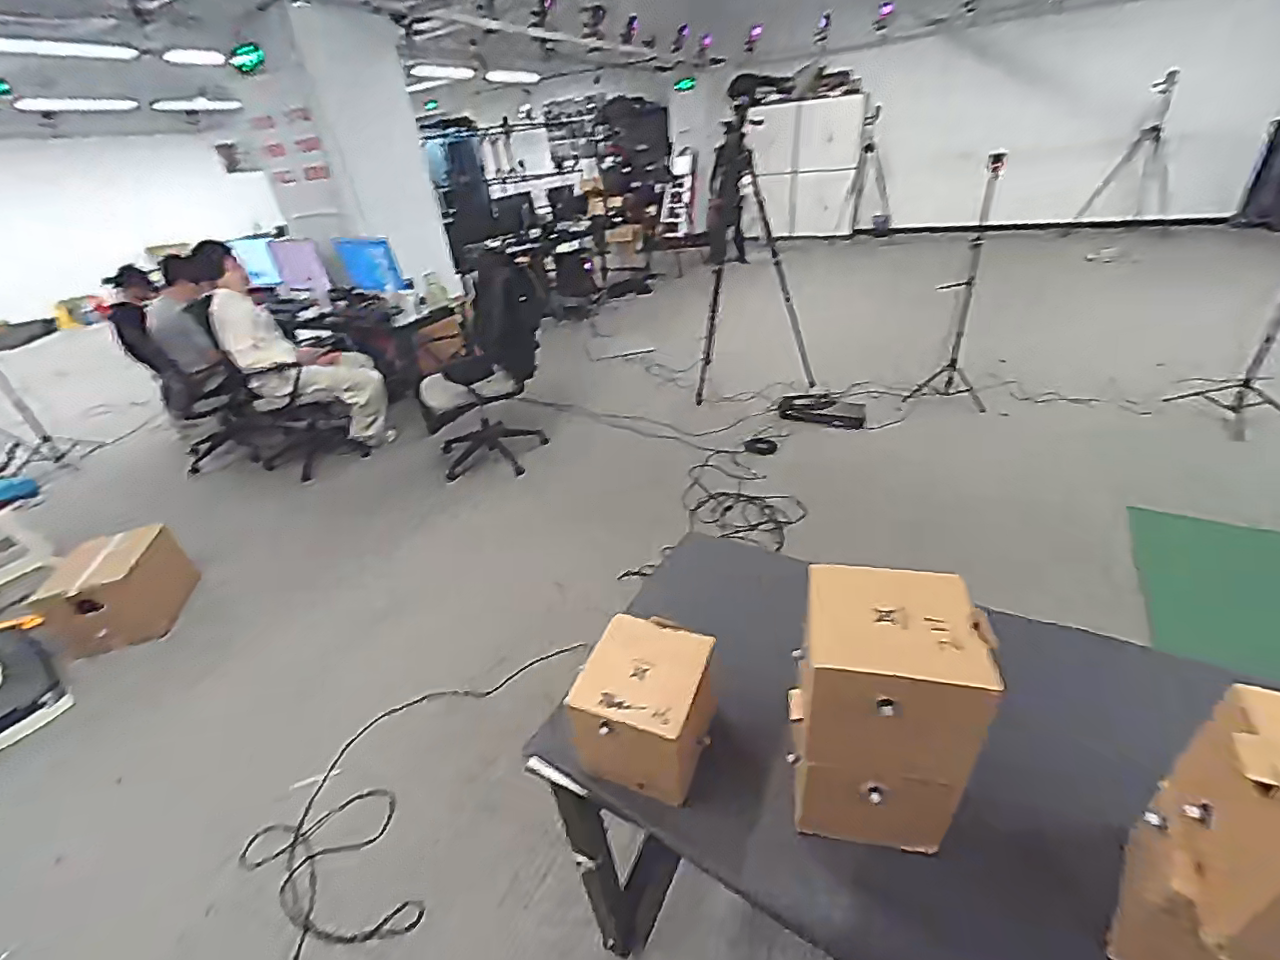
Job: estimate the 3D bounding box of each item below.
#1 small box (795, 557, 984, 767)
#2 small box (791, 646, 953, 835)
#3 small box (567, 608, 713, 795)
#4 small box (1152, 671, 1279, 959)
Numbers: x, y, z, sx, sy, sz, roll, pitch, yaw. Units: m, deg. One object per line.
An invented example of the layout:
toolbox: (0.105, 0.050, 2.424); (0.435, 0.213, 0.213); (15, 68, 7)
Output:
small box: (0.281, 0.215, 0.652); (0.179, 0.176, 0.168); (3, 33, 15)
small box: (0.299, 0.353, 0.741); (0.179, 0.176, 0.168); (2, 33, 13)
small box: (0.009, 0.332, 0.827); (0.168, 0.176, 0.179); (8, 35, 22)
small box: (0.588, 0.302, 0.453); (0.179, 0.176, 0.168); (10, 35, 26)
